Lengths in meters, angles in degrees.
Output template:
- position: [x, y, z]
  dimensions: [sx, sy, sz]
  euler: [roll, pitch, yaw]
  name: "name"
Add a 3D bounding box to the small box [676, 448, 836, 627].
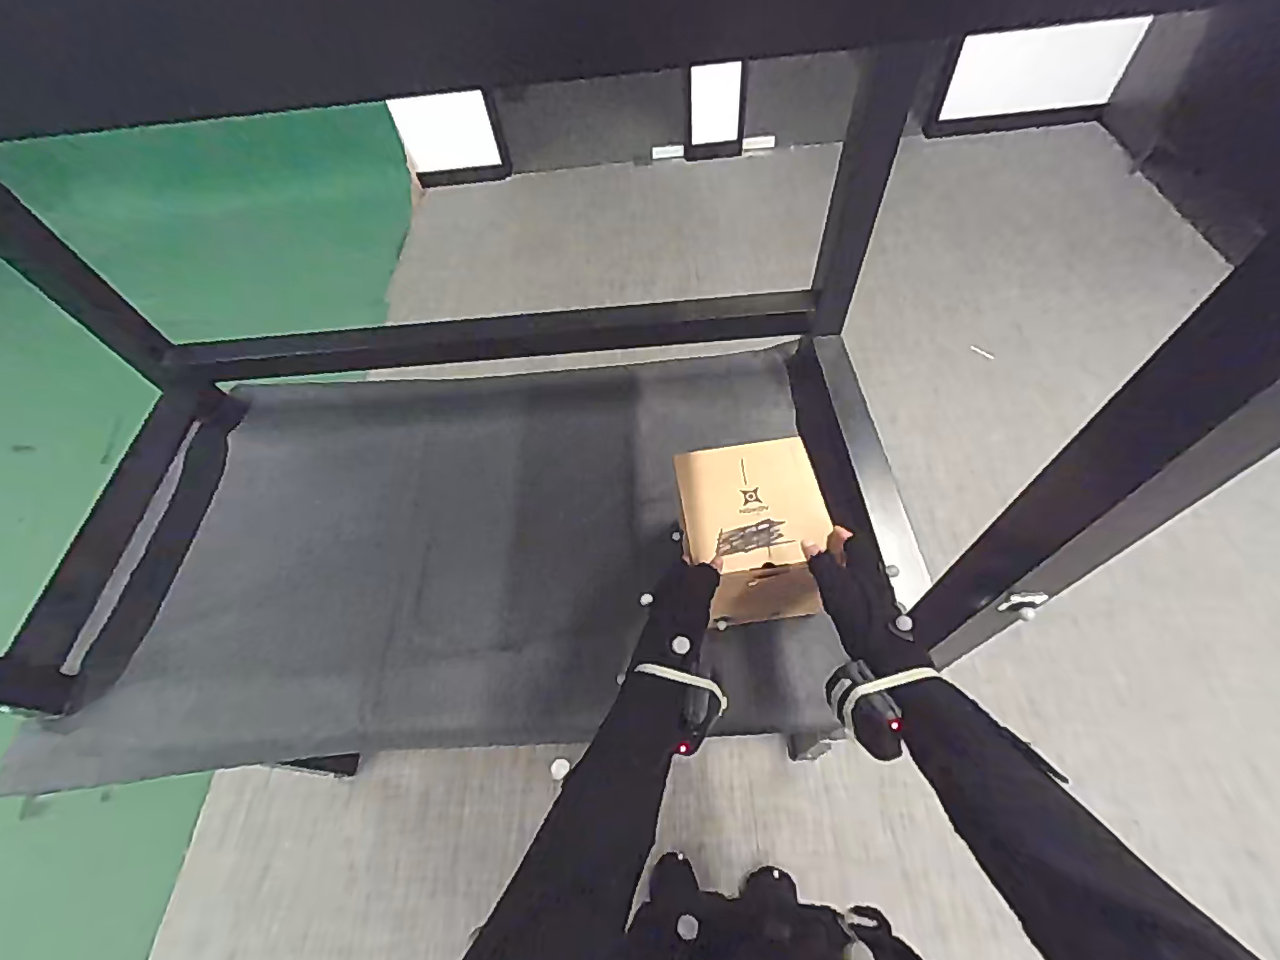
- position: [0.143, 0.084, 0.716]
  dimensions: [0.168, 0.176, 0.179]
  euler: [-8, 53, 2]
  name: "small box"
